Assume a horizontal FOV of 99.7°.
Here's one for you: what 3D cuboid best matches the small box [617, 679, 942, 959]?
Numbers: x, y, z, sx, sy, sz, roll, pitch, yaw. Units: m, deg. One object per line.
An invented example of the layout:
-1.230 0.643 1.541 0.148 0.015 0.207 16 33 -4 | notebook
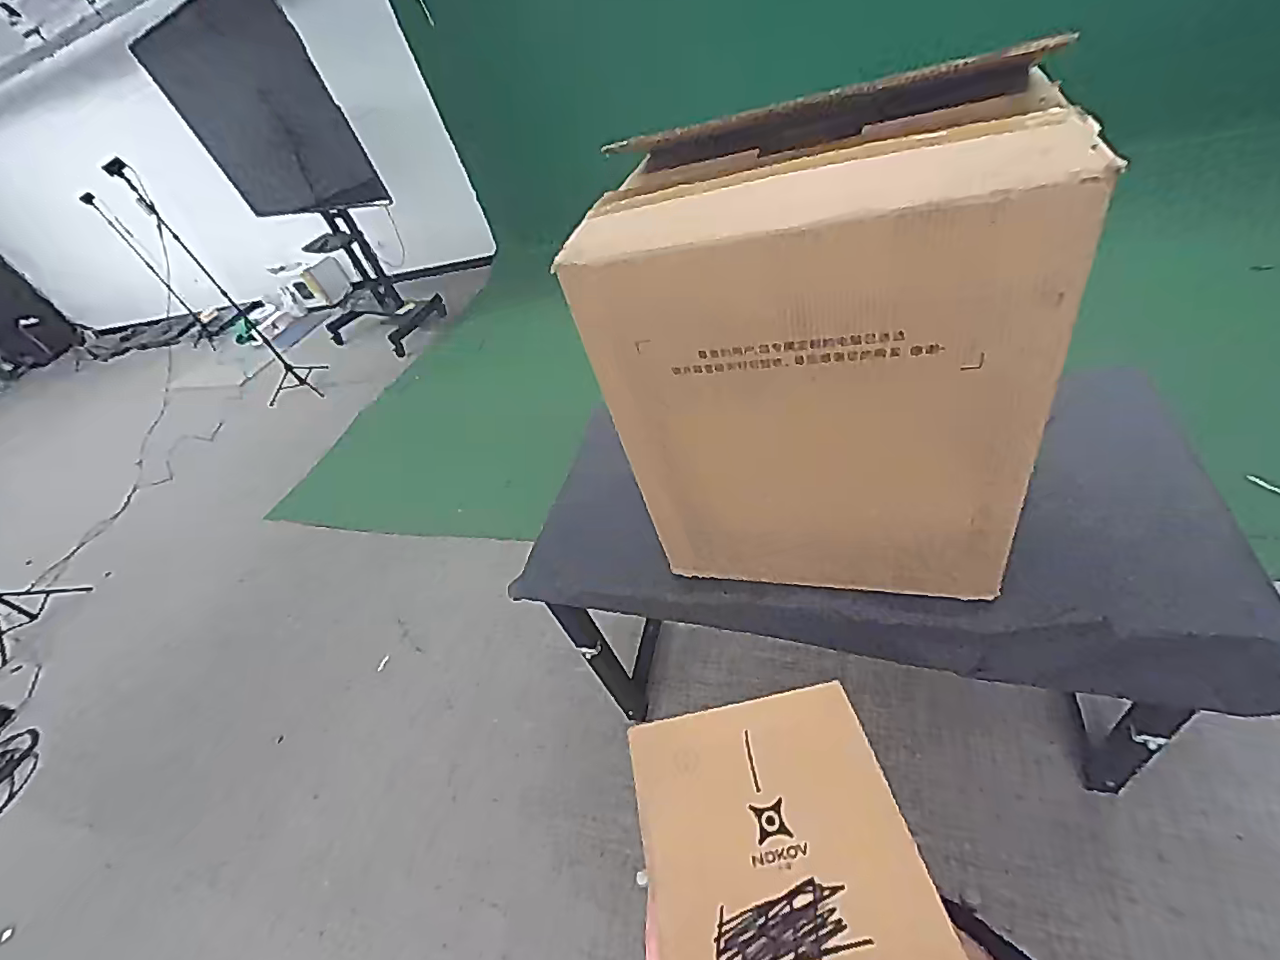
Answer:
0.087 0.282 0.401 0.168 0.176 0.179 -12 43 0 | small box
